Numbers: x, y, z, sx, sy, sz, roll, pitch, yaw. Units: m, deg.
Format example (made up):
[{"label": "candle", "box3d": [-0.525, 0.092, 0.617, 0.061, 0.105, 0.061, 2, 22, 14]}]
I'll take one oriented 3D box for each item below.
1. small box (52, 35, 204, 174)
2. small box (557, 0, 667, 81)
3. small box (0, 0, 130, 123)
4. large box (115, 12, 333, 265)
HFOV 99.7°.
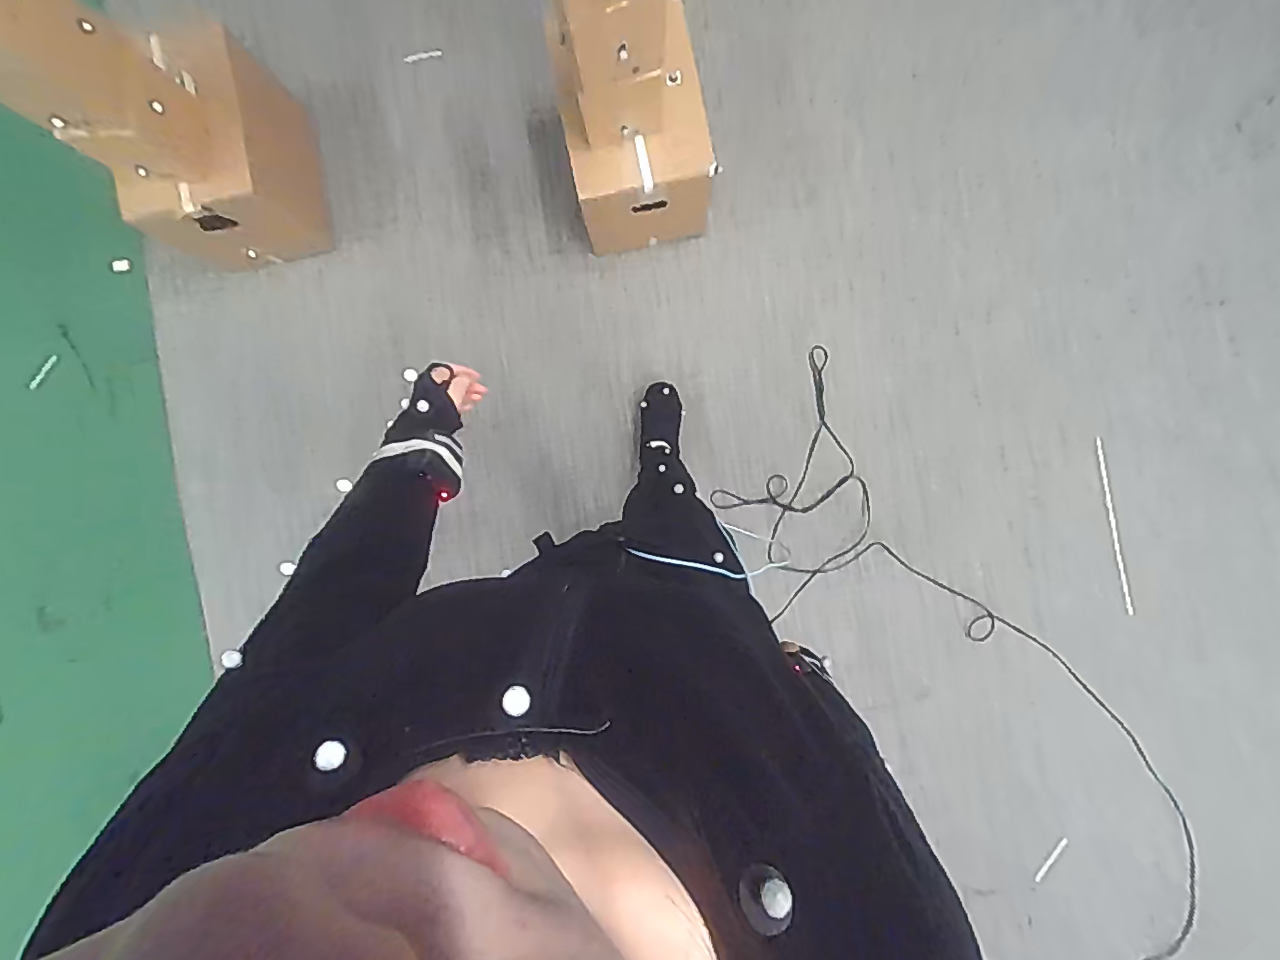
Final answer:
[{"label": "small box", "box3d": [-1.044, -0.766, 1.115, 0.168, 0.176, 0.179, 0, 91, 2]}, {"label": "small box", "box3d": [-0.054, -0.827, 0.919, 0.168, 0.176, 0.179, -19, 91, 3]}, {"label": "small box", "box3d": [-1.057, -0.772, 0.953, 0.168, 0.176, 0.179, 4, 92, 3]}, {"label": "large box", "box3d": [-1.038, -0.821, 1.357, 0.320, 0.320, 0.408, -11, 89, 2]}]
